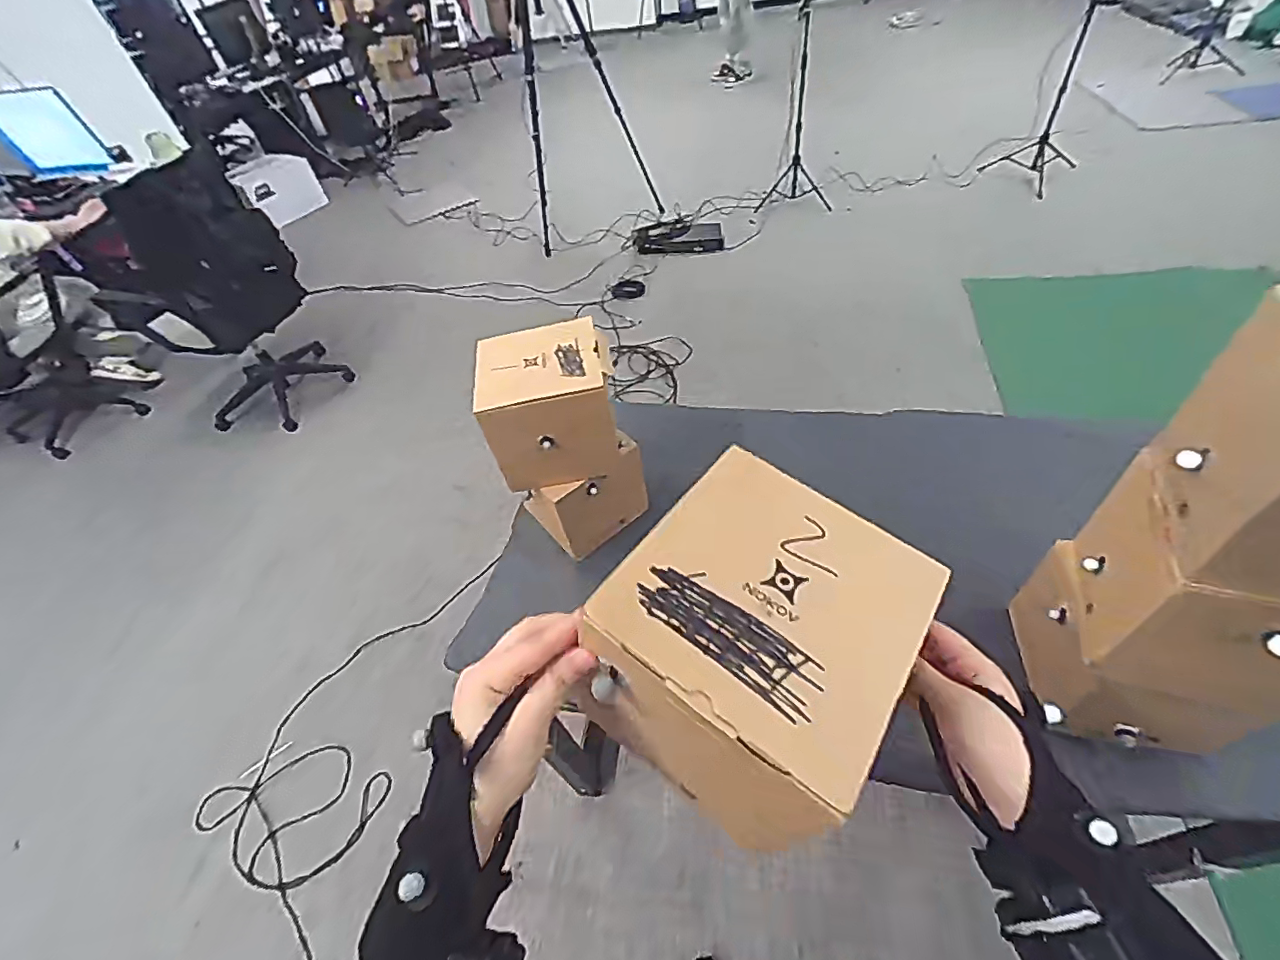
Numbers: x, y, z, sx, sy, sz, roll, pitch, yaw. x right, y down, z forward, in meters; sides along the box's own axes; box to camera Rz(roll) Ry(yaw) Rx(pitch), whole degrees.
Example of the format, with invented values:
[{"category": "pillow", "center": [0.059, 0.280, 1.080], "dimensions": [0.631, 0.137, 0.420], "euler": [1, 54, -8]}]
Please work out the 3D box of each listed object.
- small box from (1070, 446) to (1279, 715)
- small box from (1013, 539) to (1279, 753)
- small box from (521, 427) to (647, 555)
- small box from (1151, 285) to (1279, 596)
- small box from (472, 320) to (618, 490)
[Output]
[{"category": "small box", "center": [0.546, 0.096, 0.505], "dimensions": [0.179, 0.176, 0.168], "euler": [11, 51, 21]}, {"category": "small box", "center": [0.571, 0.193, 0.633], "dimensions": [0.168, 0.176, 0.179], "euler": [2, 49, 14]}, {"category": "small box", "center": [-0.108, -0.004, 0.931], "dimensions": [0.168, 0.176, 0.179], "euler": [-36, 53, -20]}, {"category": "small box", "center": [0.526, -0.016, 0.385], "dimensions": [0.179, 0.176, 0.168], "euler": [12, 51, 22]}, {"category": "small box", "center": [-0.132, -0.108, 0.805], "dimensions": [0.179, 0.176, 0.168], "euler": [-11, 49, 0]}]
